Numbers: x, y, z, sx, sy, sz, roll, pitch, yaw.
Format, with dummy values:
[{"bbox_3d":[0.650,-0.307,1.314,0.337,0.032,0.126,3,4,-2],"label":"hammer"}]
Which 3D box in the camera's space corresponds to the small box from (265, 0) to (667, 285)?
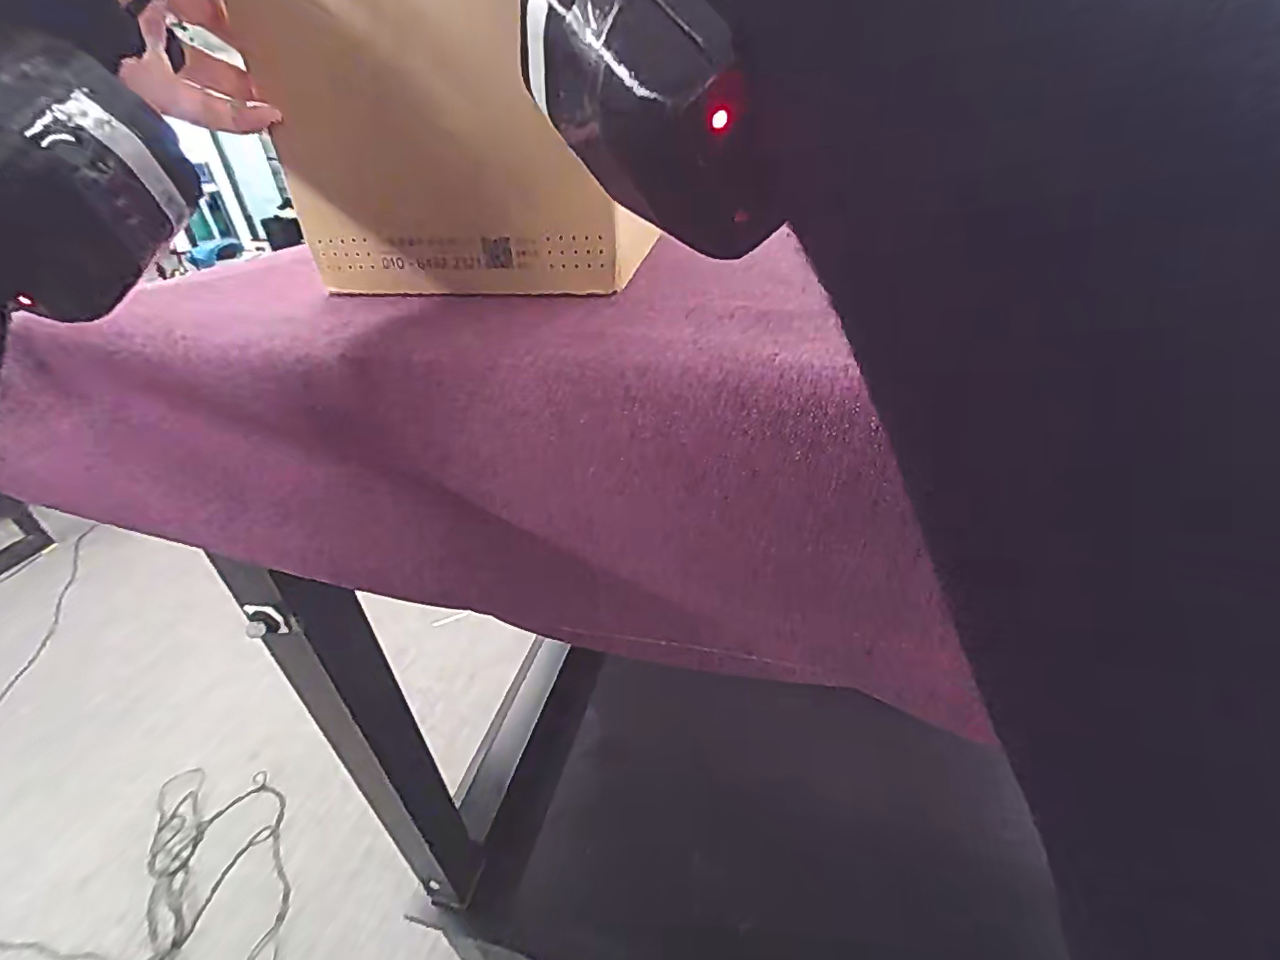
[{"bbox_3d":[-0.076,-0.217,0.305,0.168,0.176,0.179,3,33,8],"label":"small box"}]
